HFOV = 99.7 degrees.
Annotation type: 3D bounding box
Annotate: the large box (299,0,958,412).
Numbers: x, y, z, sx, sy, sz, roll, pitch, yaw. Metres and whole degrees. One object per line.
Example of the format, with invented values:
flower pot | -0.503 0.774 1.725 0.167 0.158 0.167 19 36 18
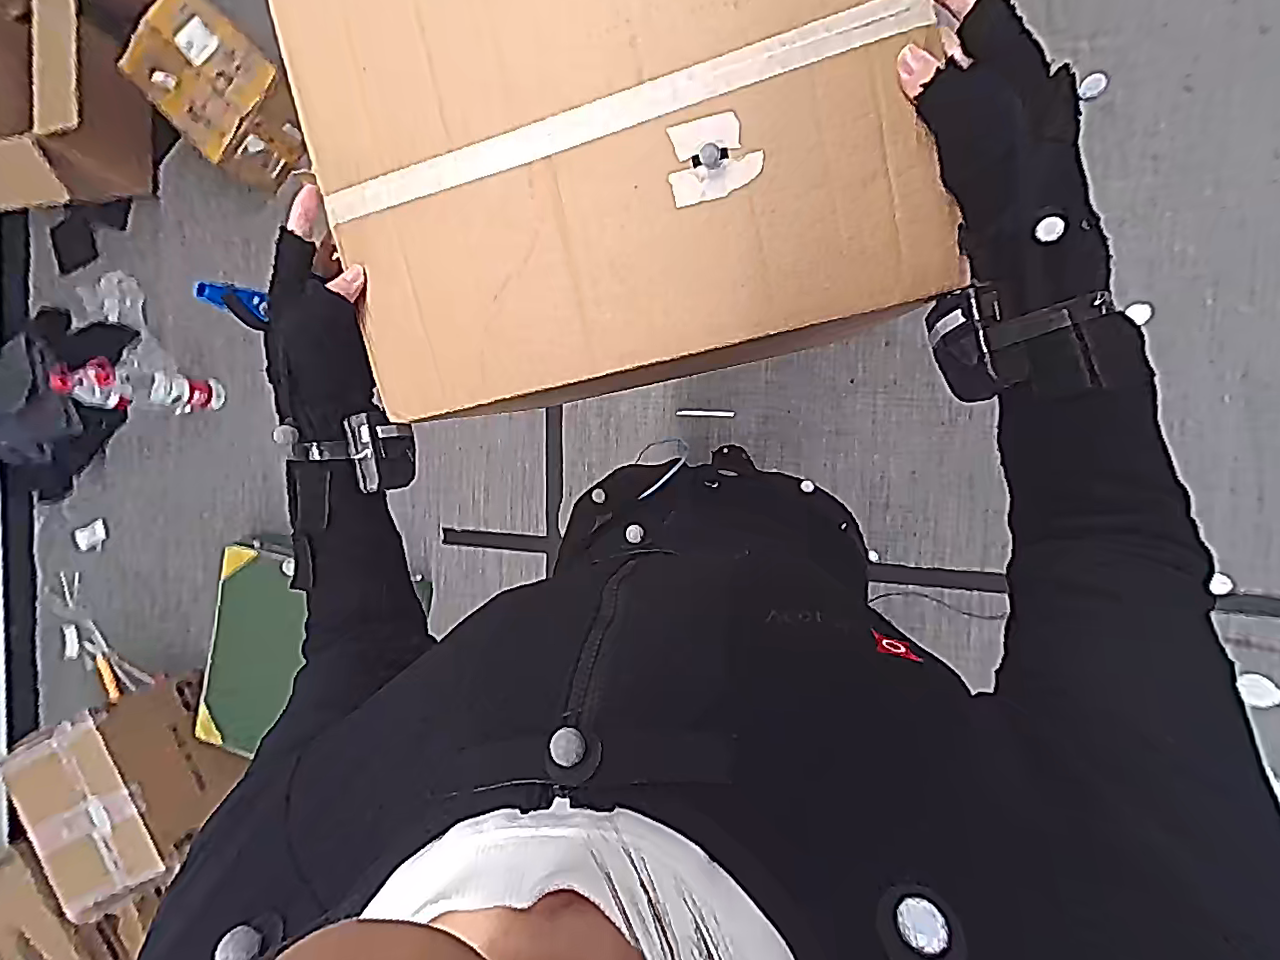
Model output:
large box | 0.002 -0.261 0.507 0.408 0.320 0.320 -11 98 11
